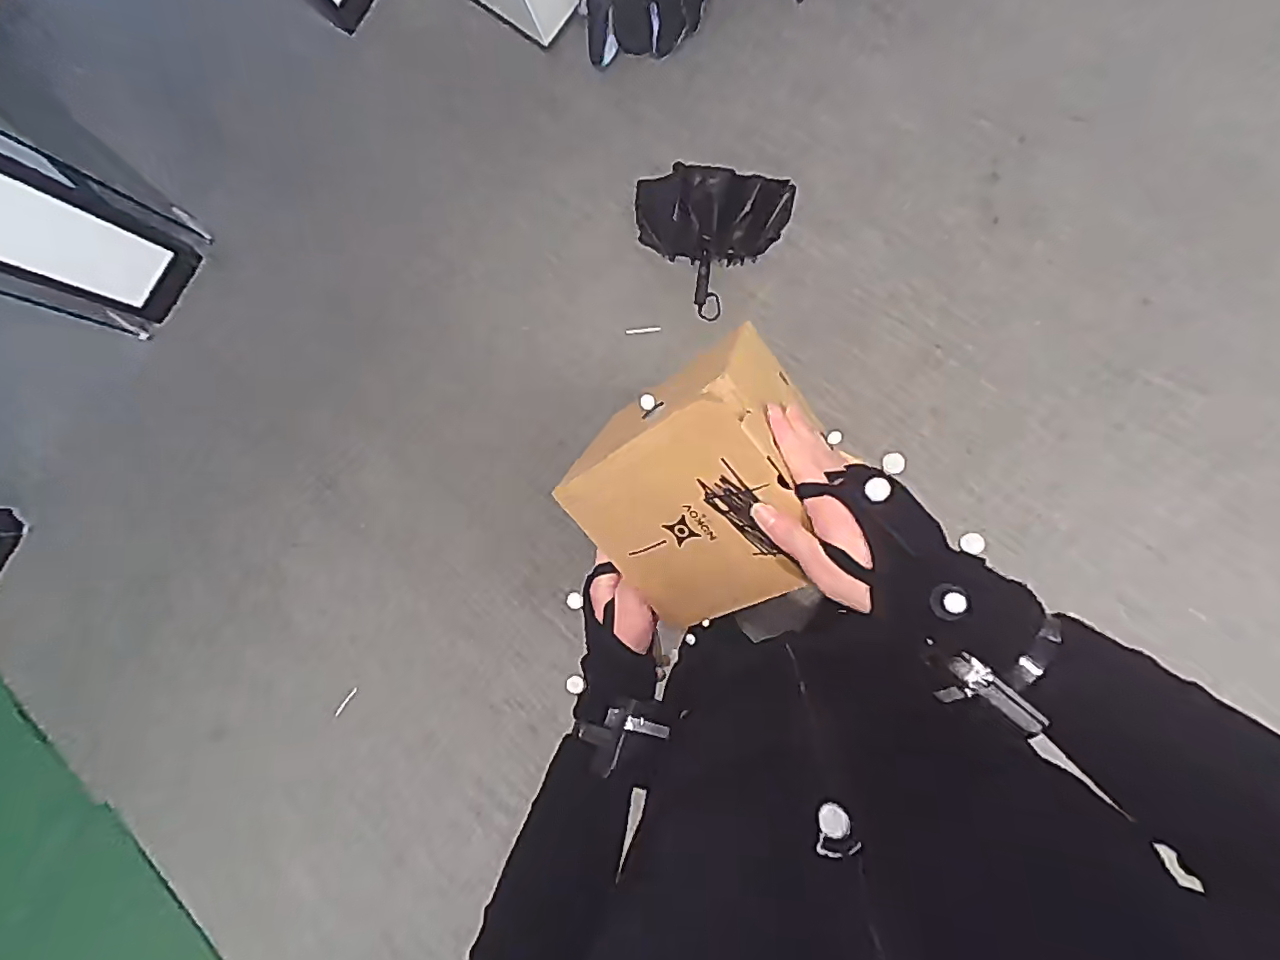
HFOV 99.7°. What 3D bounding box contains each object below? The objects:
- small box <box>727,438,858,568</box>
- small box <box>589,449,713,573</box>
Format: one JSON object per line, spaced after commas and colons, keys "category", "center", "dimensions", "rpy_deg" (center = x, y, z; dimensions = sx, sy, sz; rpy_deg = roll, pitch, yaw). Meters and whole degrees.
{"category": "small box", "center": [0.282, 0.048, 1.012], "dimensions": [0.168, 0.176, 0.179], "rpy_deg": [29, 90, 15]}
{"category": "small box", "center": [0.031, 0.060, 1.075], "dimensions": [0.168, 0.176, 0.179], "rpy_deg": [32, 96, 16]}
